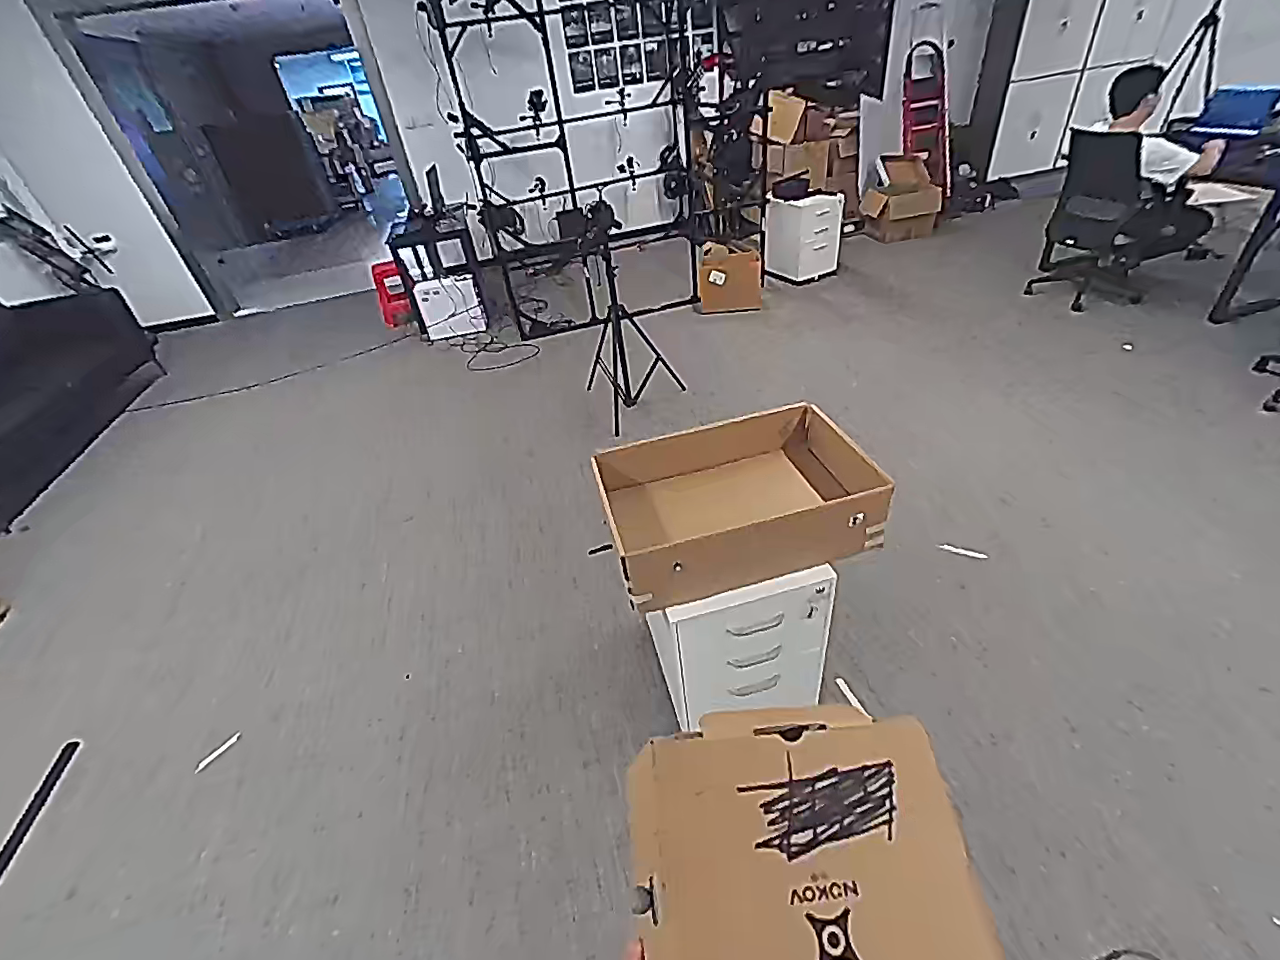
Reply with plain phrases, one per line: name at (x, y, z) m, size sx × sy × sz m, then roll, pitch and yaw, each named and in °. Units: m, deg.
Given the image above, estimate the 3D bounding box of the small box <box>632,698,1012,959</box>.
small box at (0.088, 0.250, 0.339) m, size 0.168 × 0.176 × 0.179 m, roll -1°, pitch 57°, yaw -8°
